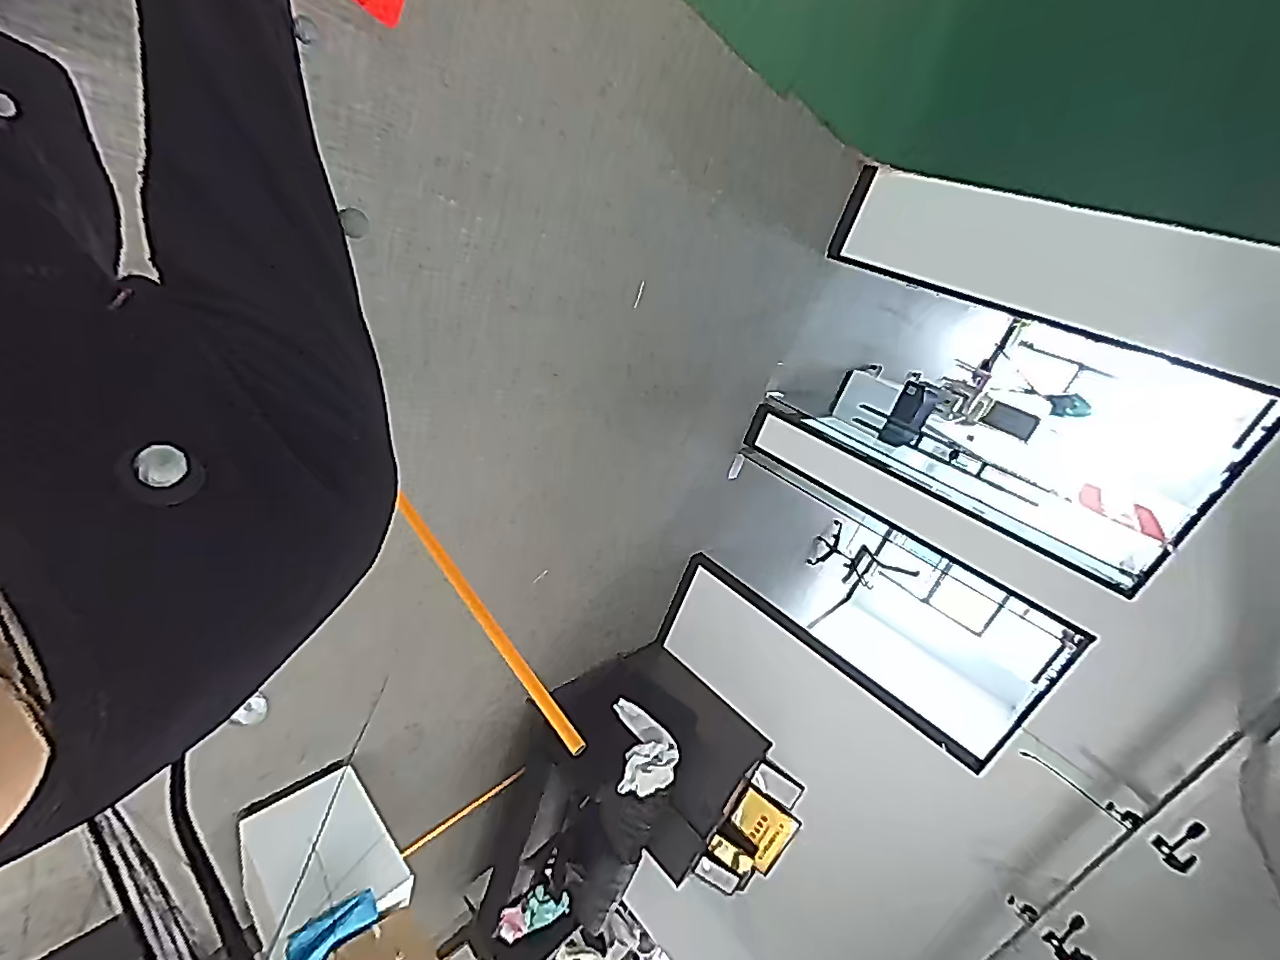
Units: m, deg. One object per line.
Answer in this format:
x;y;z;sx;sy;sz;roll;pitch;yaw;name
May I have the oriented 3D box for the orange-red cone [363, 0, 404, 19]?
-0.435;-1.004;0.998;0.198;0.360;0.199;8;114;-55;orange-red cone
